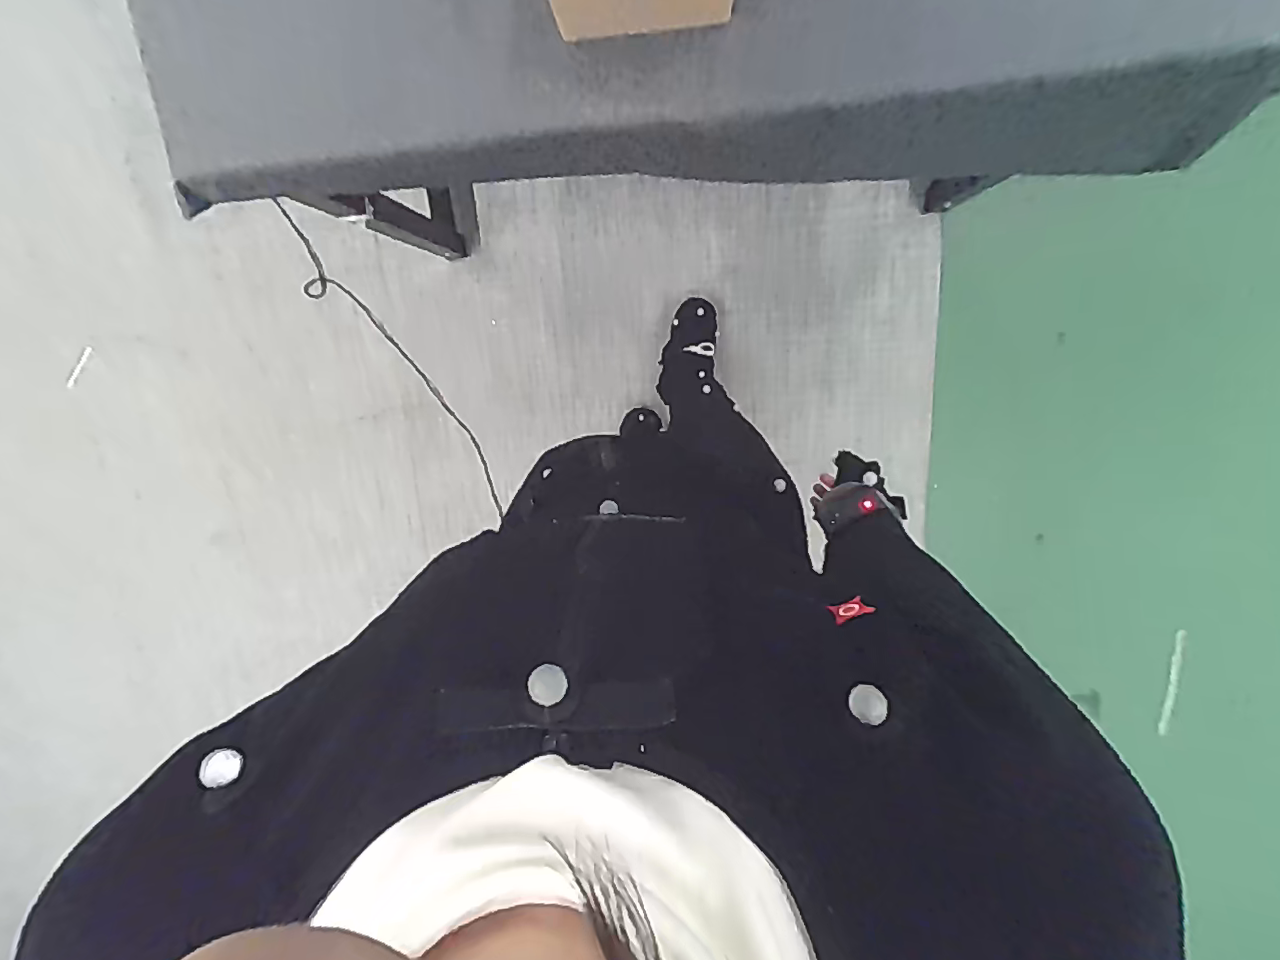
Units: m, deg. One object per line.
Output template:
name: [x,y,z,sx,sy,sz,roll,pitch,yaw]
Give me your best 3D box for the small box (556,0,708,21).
small box: [-0.005,-0.538,0.460,0.179,0.176,0.168,-3,104,6]
